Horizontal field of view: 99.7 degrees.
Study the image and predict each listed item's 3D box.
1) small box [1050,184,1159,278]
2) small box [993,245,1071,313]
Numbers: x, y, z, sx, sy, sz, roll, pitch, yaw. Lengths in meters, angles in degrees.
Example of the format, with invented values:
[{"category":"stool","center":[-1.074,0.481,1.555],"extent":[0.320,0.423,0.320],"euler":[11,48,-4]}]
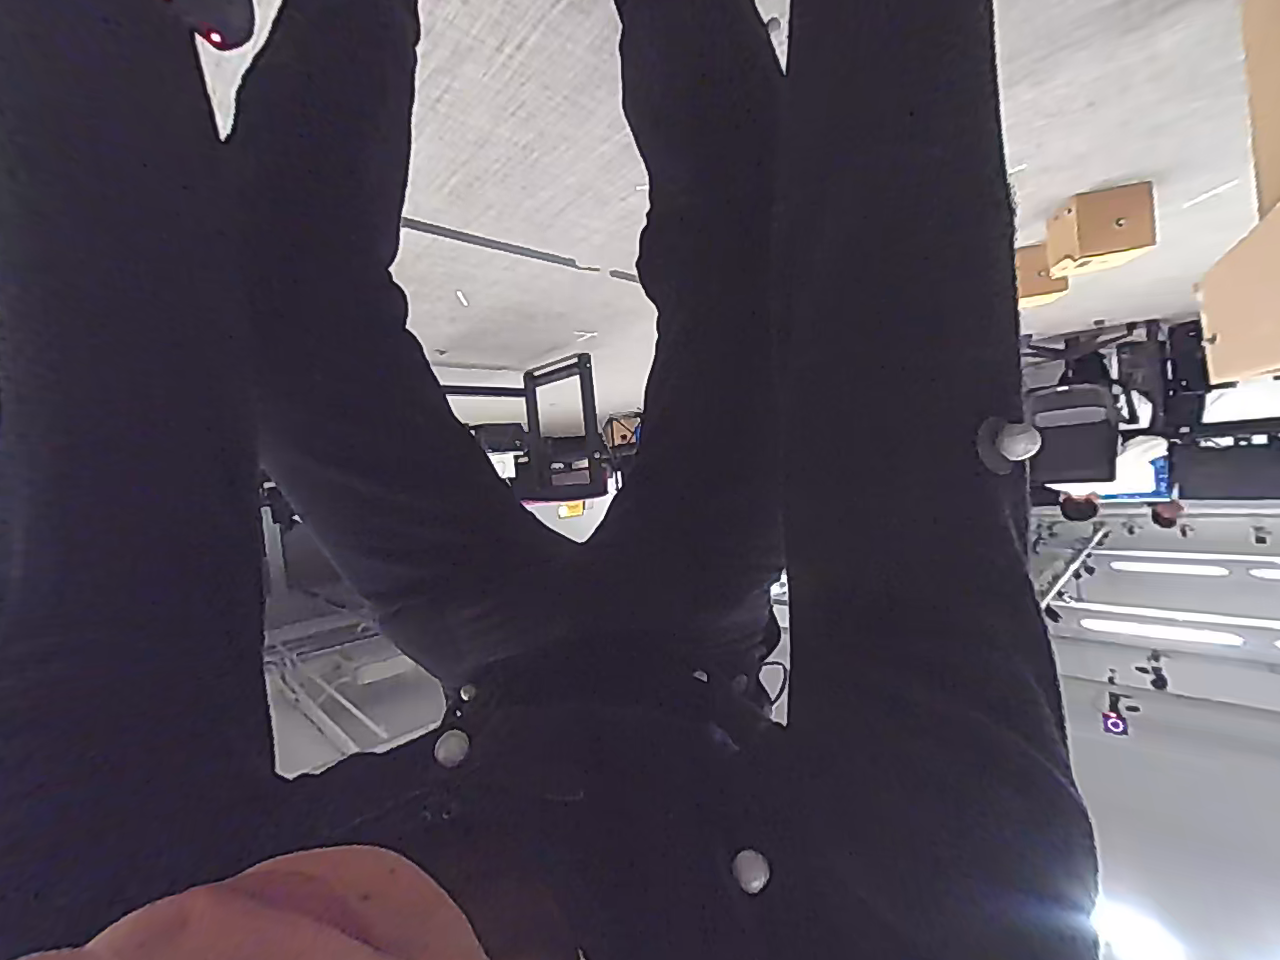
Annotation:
[{"category":"small box","center":[1.262,-0.679,1.484],"extent":[0.179,0.176,0.168],"euler":[-5,-179,15]},{"category":"small box","center":[1.349,-0.695,1.870],"extent":[0.179,0.176,0.168],"euler":[-6,180,21]}]
